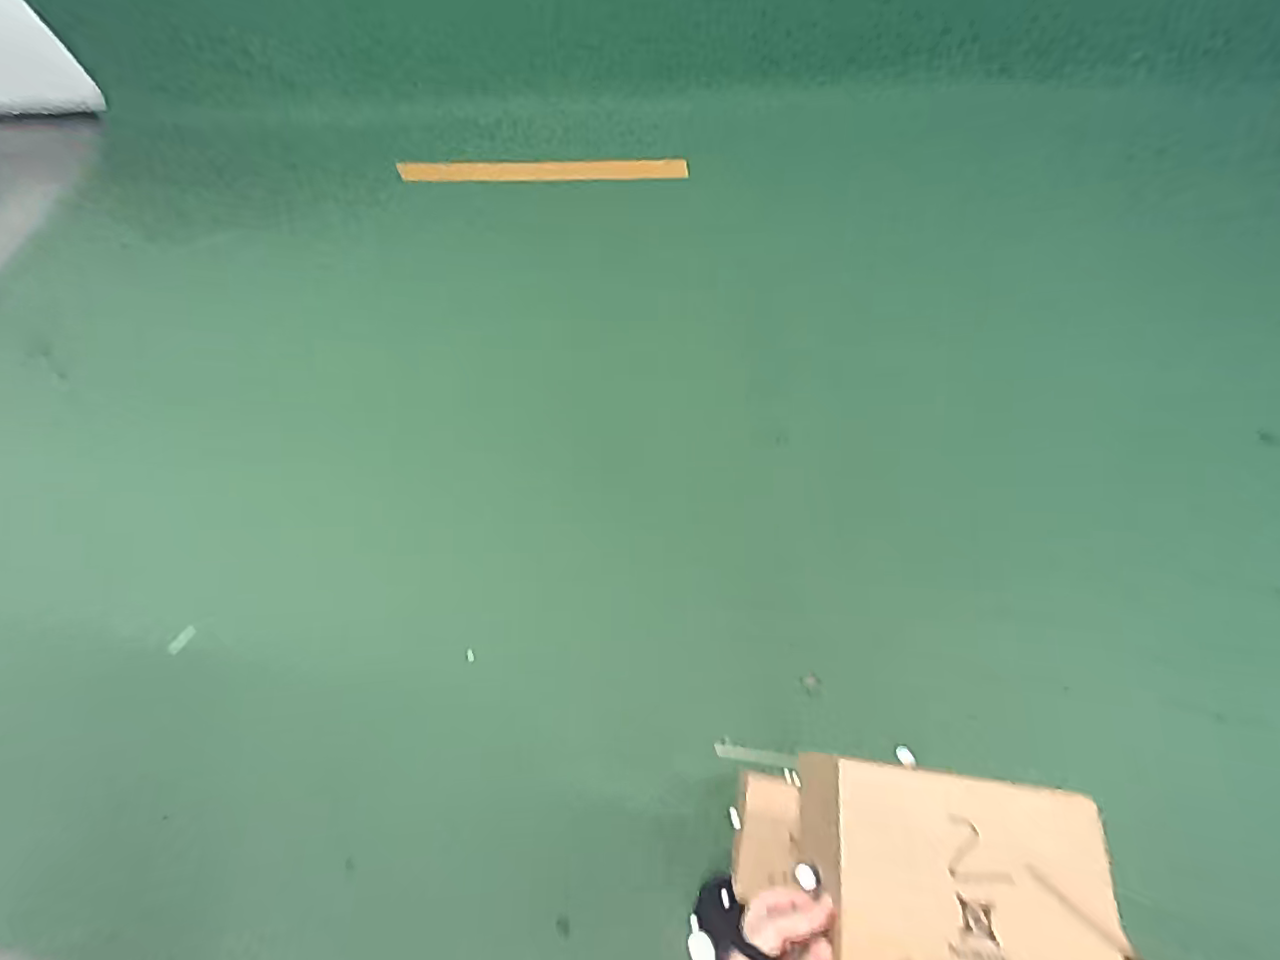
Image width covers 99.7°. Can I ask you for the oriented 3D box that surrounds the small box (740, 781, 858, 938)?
[{"bbox_3d":[0.265,0.629,0.923,0.168,0.176,0.179,8,64,13],"label":"small box"}]
